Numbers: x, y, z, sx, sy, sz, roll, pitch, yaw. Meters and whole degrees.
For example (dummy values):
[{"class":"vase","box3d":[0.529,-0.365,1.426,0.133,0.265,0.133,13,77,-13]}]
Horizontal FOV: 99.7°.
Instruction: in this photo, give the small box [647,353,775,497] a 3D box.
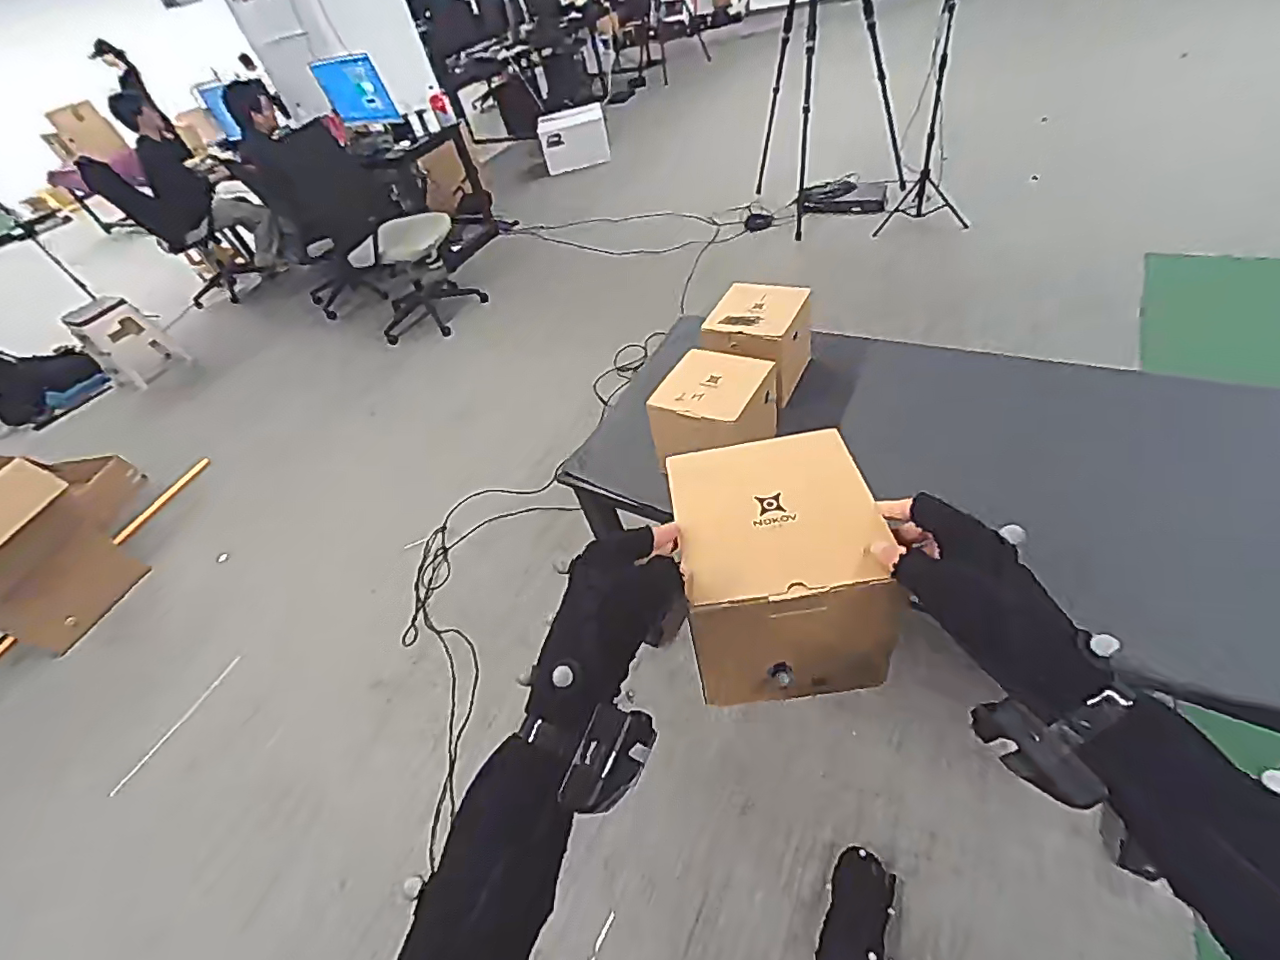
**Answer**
[{"class":"small box","box3d":[0.134,-0.101,0.979,0.168,0.176,0.179,17,53,28]}]

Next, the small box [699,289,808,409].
[{"class":"small box","box3d":[0.239,-0.268,1.109,0.168,0.176,0.179,16,53,27]}]
